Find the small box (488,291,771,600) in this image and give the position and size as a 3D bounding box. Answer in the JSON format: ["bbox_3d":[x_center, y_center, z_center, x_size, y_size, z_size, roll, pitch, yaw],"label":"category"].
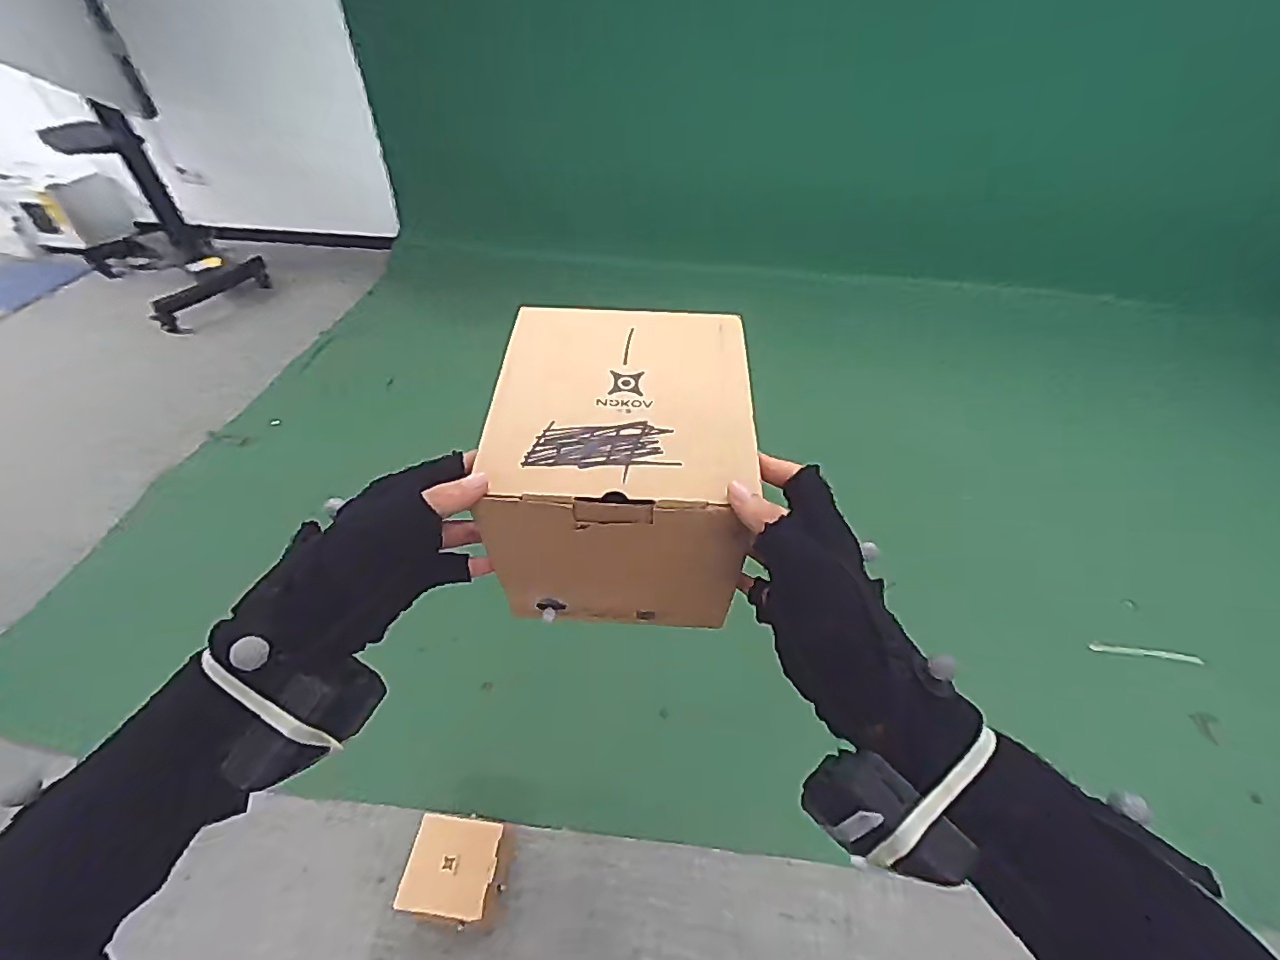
[{"bbox_3d":[-0.002,-0.021,0.417,0.168,0.176,0.179,3,53,1],"label":"small box"}]

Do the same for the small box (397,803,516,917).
[{"bbox_3d":[-0.380,0.813,1.154,0.179,0.176,0.168,6,46,3],"label":"small box"}]
